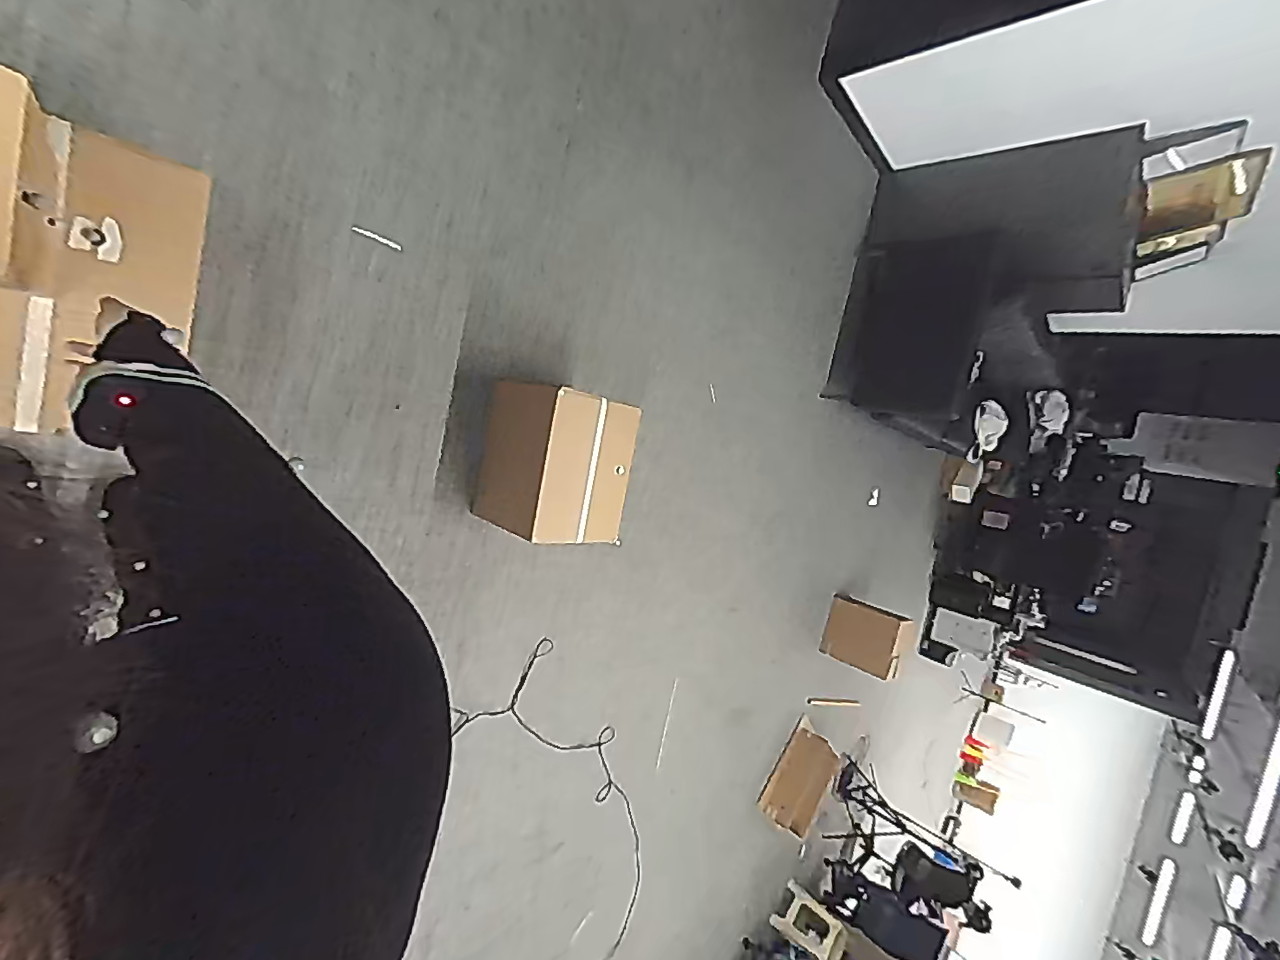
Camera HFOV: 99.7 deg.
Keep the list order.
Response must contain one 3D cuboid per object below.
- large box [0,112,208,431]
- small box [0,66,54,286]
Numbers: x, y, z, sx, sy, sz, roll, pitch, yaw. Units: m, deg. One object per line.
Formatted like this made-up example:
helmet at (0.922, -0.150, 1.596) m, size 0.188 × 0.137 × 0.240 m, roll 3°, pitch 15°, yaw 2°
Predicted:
large box at (-0.891, -0.303, 0.820) m, size 0.320 × 0.320 × 0.408 m, roll 6°, pitch 96°, yaw -47°
small box at (-0.650, -0.285, 0.476) m, size 0.168 × 0.176 × 0.179 m, roll 6°, pitch 98°, yaw -44°
